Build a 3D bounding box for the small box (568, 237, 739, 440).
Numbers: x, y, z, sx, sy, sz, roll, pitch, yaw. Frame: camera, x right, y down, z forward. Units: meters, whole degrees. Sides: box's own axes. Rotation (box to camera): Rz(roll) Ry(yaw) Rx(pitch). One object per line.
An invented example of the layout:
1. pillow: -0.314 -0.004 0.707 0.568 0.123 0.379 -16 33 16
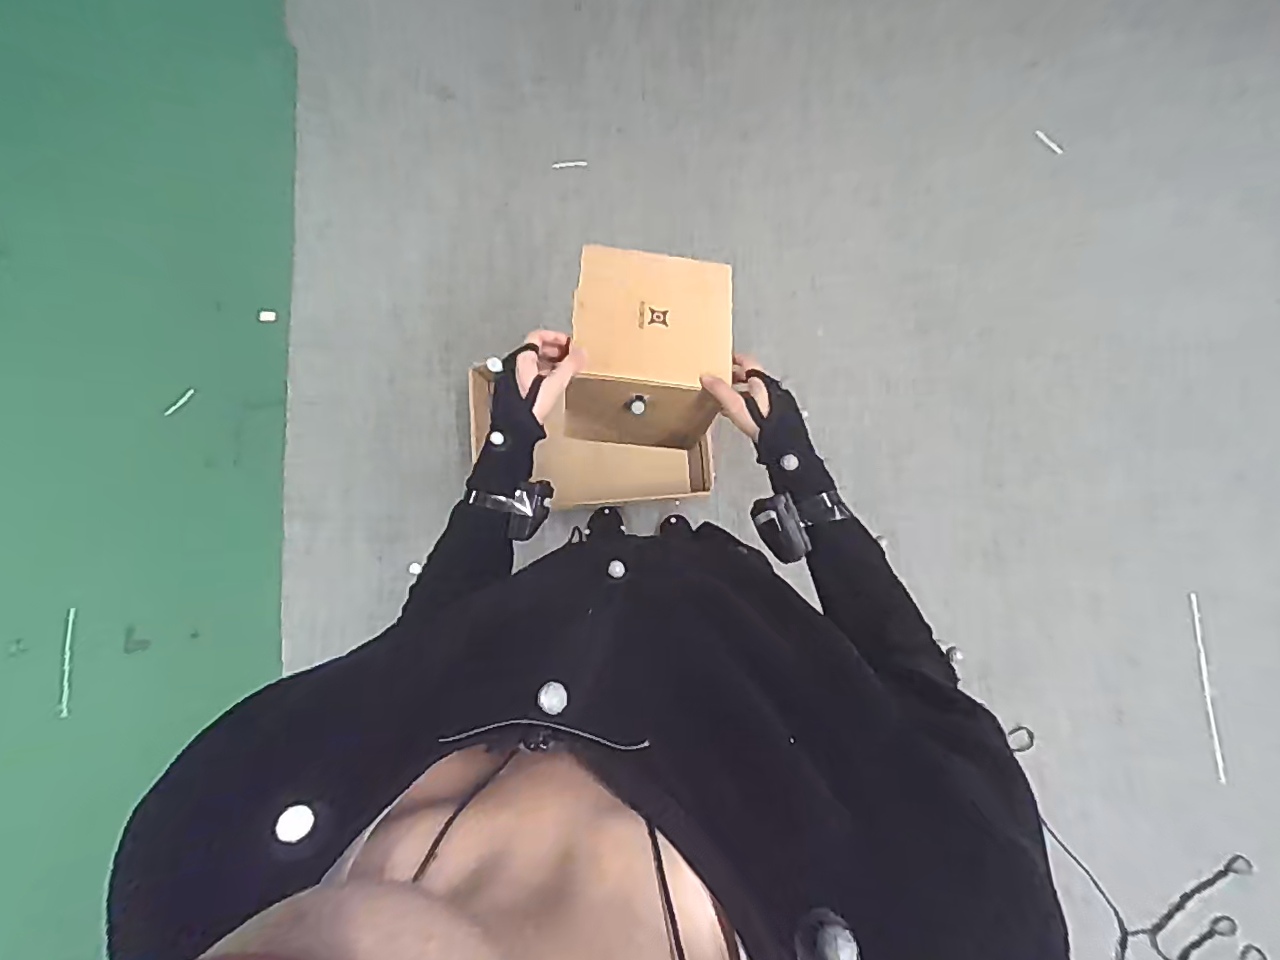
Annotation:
1. small box: 0.009 -0.156 0.652 0.179 0.176 0.168 5 72 -7
